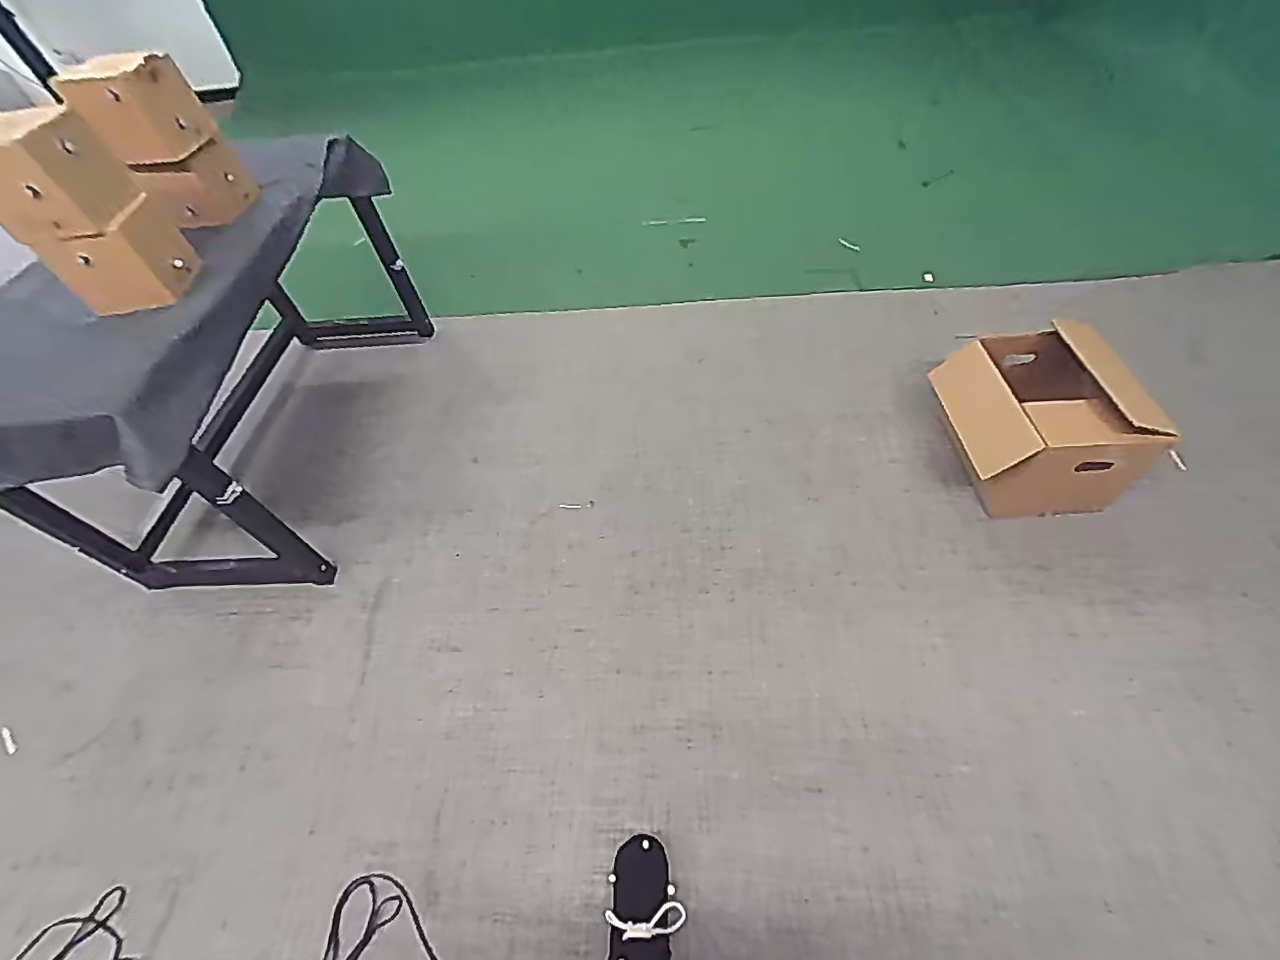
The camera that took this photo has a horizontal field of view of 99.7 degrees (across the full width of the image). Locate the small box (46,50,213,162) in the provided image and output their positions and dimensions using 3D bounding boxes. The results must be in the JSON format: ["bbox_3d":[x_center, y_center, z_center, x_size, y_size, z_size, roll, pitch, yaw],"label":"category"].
[{"bbox_3d":[-1.141,-0.843,1.226,0.179,0.176,0.168,1,53,7],"label":"small box"}]

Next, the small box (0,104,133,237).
[{"bbox_3d":[-1.137,-0.580,1.027,0.168,0.176,0.179,-6,52,0],"label":"small box"}]

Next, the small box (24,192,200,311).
[{"bbox_3d":[-1.108,-0.481,1.153,0.179,0.176,0.168,-10,53,-2],"label":"small box"}]

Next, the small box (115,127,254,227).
[{"bbox_3d":[-1.138,-0.765,1.371,0.179,0.176,0.168,-1,53,5],"label":"small box"}]
